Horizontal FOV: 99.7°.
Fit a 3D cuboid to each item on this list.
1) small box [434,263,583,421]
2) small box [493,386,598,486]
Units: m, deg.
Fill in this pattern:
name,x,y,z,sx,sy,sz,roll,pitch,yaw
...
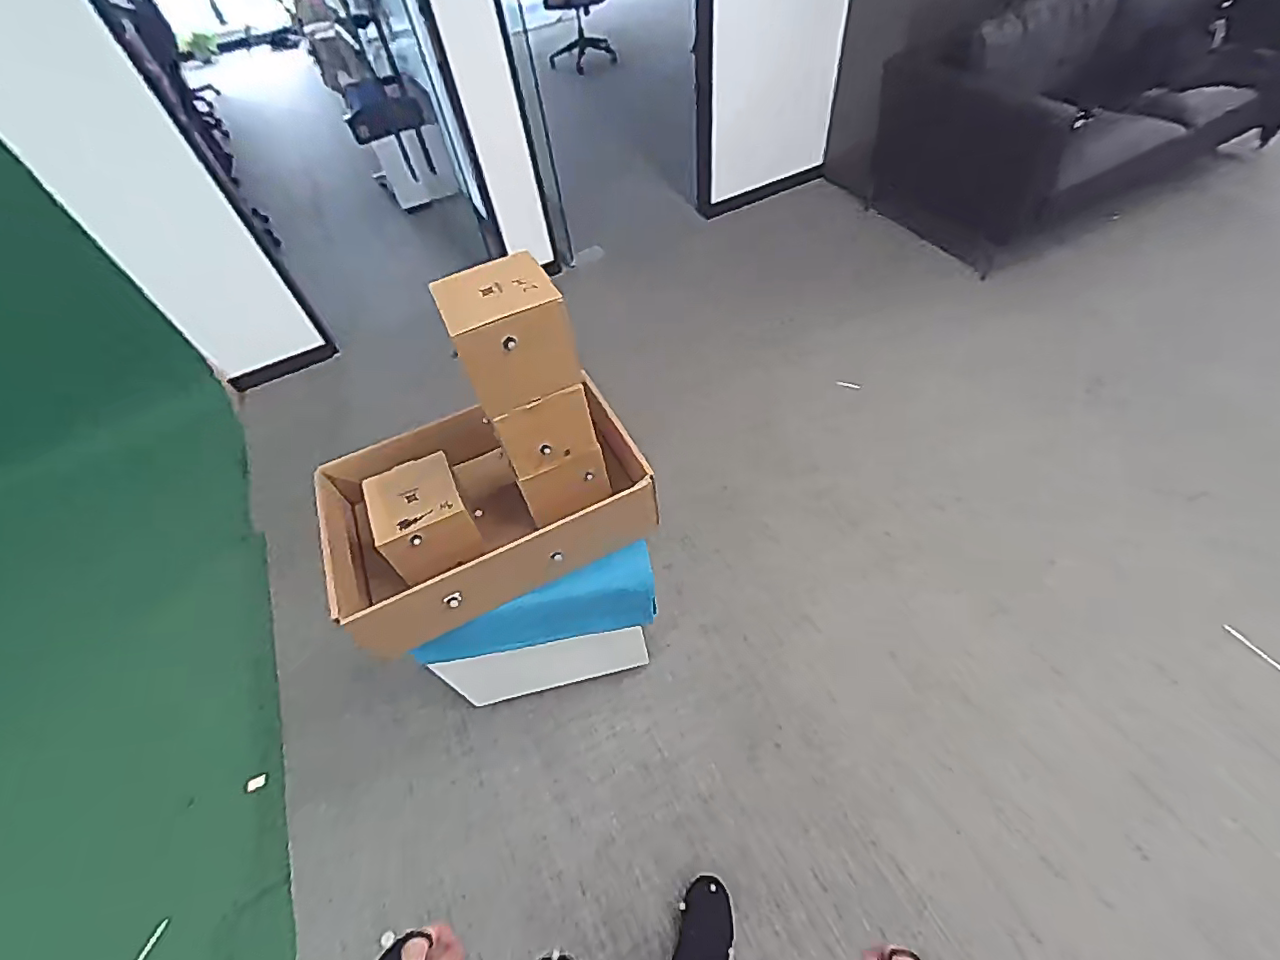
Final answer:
name,x,y,z,sx,sy,sz,roll,pitch,yaw
small box,-0.213,-0.226,0.901,0.179,0.176,0.168,-23,52,-11
small box,-0.194,-0.121,1.028,0.168,0.176,0.179,-24,51,-11
